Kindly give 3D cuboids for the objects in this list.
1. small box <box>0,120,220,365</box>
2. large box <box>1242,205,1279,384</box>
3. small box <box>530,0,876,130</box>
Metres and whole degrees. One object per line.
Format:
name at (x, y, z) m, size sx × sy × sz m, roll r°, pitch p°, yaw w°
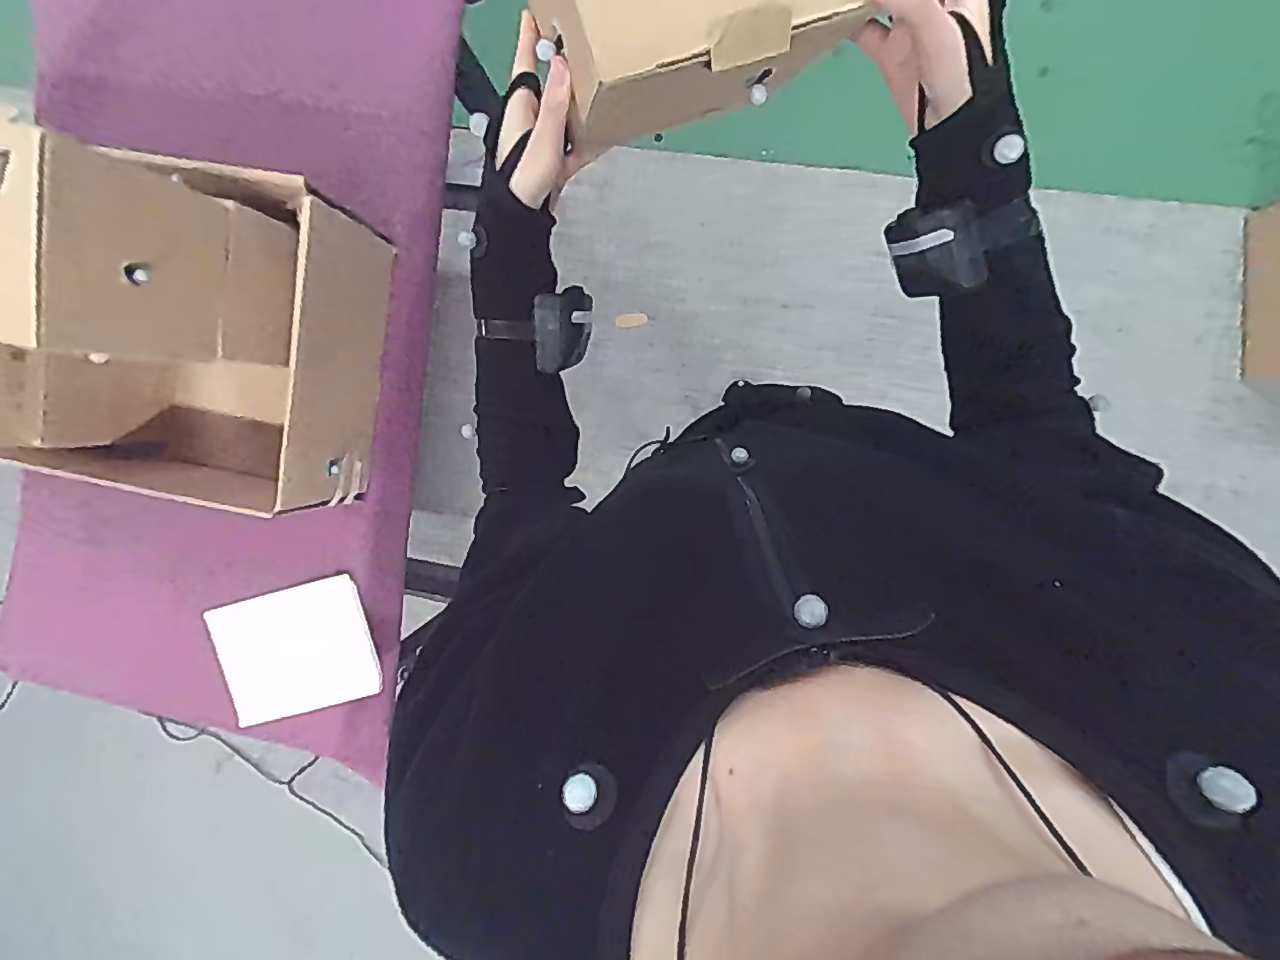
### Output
small box at (-0.550, -0.217, 0.518) m, size 0.168 × 0.176 × 0.179 m, roll 12°, pitch 99°, yaw 6°
large box at (1.604, -0.435, 1.151) m, size 0.320 × 0.320 × 0.408 m, roll -5°, pitch 93°, yaw 6°
small box at (0.017, -0.332, 0.316) m, size 0.168 × 0.176 × 0.179 m, roll -18°, pitch 112°, yaw -5°
